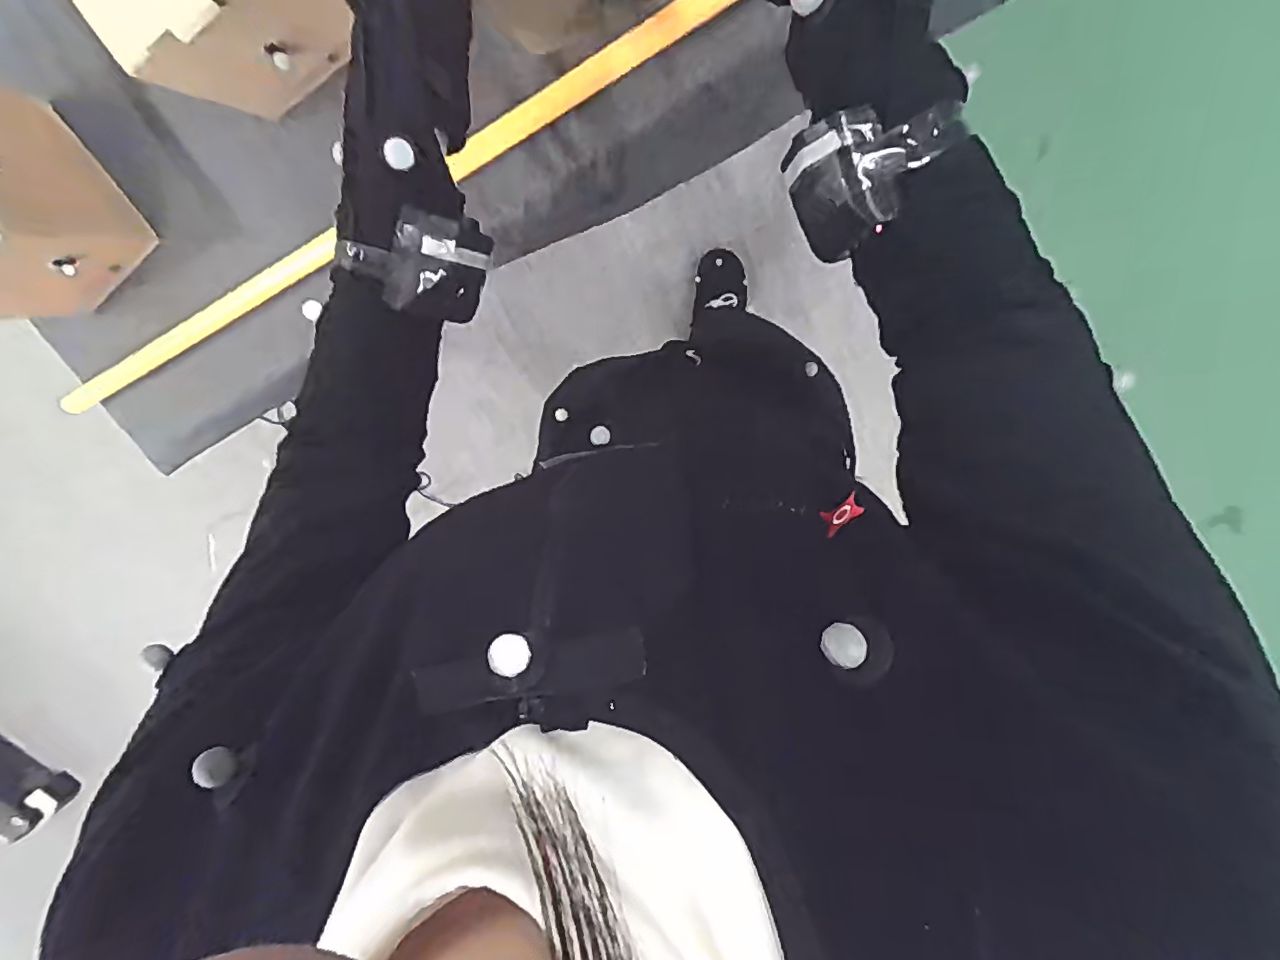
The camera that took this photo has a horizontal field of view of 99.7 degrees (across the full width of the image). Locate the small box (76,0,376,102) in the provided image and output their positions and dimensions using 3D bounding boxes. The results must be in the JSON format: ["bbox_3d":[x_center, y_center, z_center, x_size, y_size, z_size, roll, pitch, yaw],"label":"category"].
[{"bbox_3d":[-0.374,-0.466,0.465,0.168,0.176,0.179,-25,106,19],"label":"small box"}]

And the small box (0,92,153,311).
[{"bbox_3d":[-0.701,-0.300,0.585,0.168,0.176,0.179,-29,104,17],"label":"small box"}]
